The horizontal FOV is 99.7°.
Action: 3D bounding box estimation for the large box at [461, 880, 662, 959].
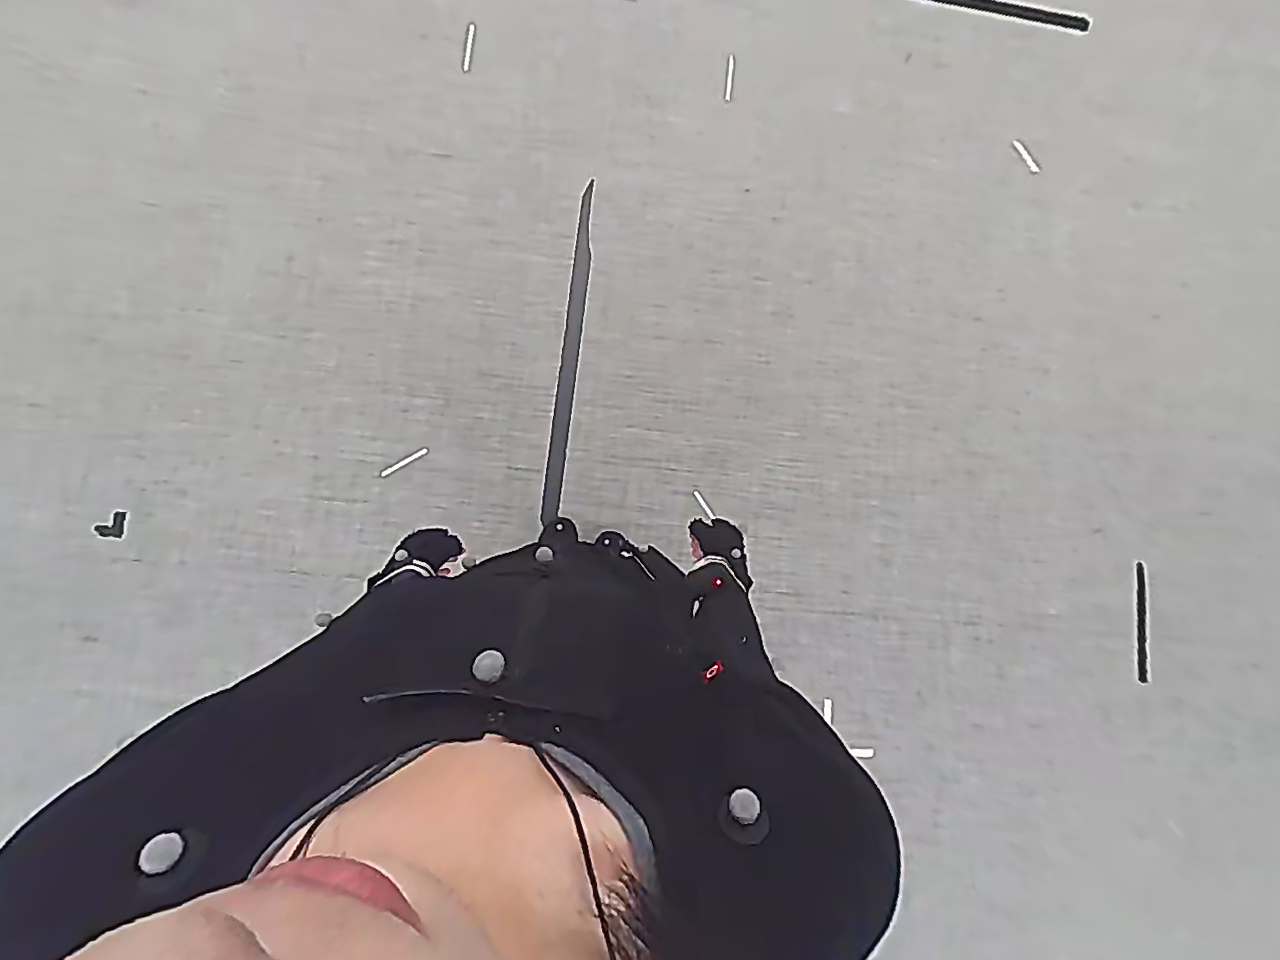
[{"bbox_3d":[-0.154,1.090,1.105,0.408,0.320,0.320,-2,83,-5],"label":"large box"}]
